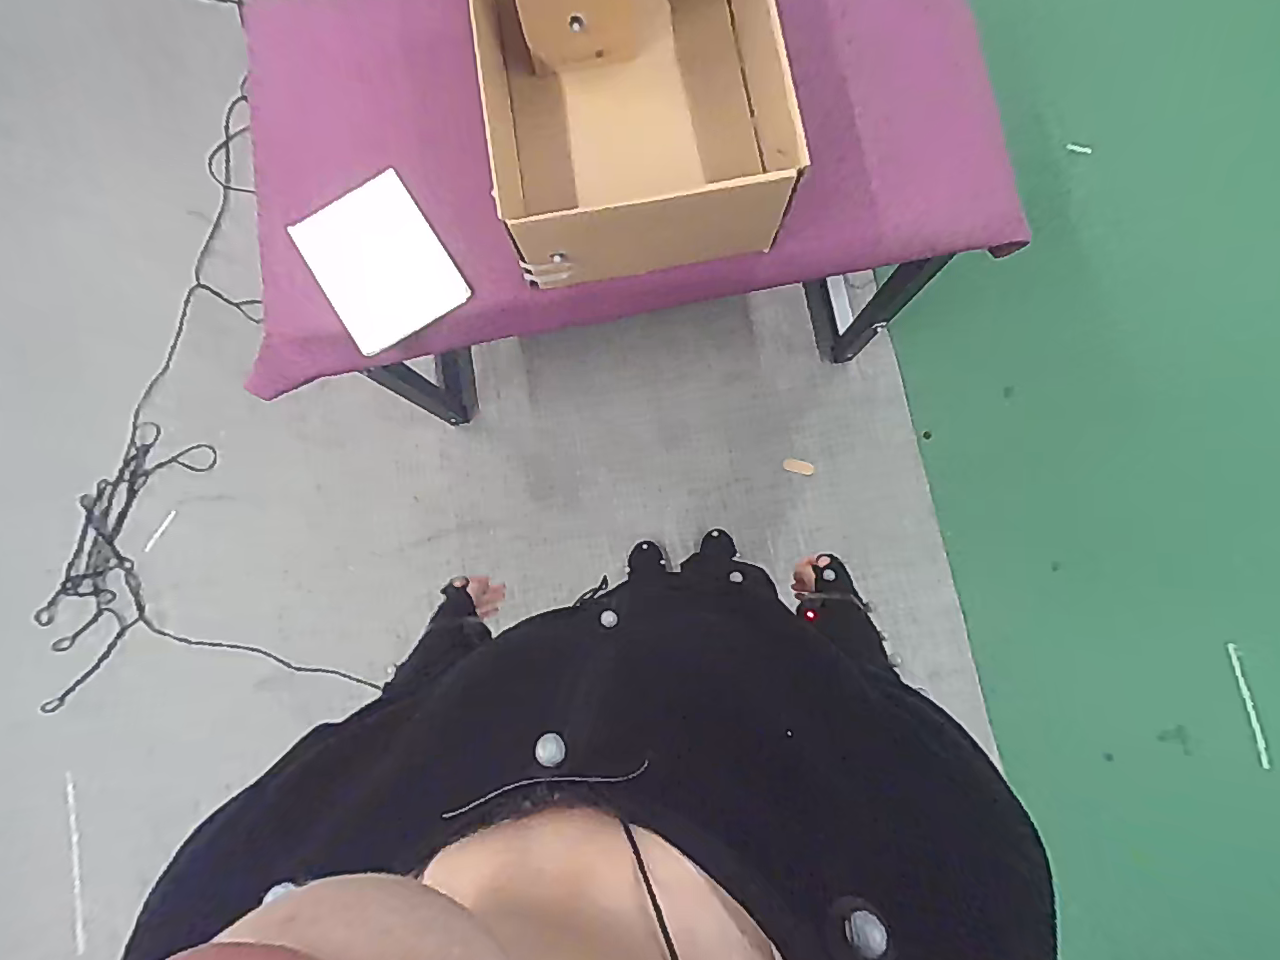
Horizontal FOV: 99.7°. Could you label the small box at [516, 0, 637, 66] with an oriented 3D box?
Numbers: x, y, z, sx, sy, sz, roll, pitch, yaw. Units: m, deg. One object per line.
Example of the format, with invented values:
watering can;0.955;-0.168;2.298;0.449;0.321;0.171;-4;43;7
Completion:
small box;-0.099;-0.744;0.783;0.168;0.176;0.179;-9;84;1
